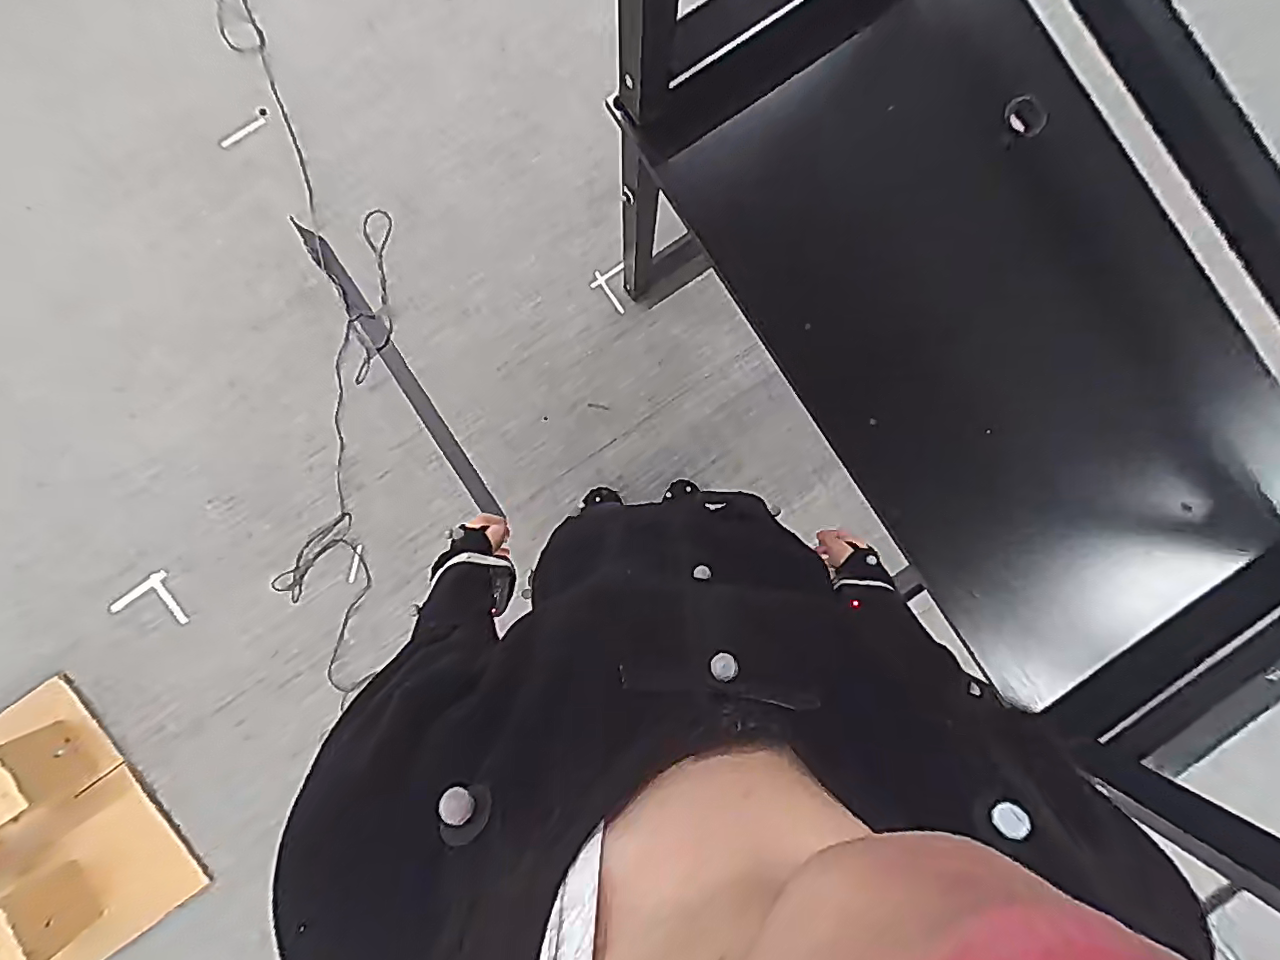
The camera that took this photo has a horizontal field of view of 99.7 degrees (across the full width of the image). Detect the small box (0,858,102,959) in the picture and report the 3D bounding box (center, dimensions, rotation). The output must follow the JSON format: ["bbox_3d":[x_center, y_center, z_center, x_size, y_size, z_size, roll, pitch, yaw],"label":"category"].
[{"bbox_3d":[-1.532,1.113,1.359,0.168,0.176,0.179,-26,92,-2],"label":"small box"}]

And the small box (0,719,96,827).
[{"bbox_3d":[-1.560,0.747,1.362,0.179,0.176,0.168,-35,92,-3],"label":"small box"}]
